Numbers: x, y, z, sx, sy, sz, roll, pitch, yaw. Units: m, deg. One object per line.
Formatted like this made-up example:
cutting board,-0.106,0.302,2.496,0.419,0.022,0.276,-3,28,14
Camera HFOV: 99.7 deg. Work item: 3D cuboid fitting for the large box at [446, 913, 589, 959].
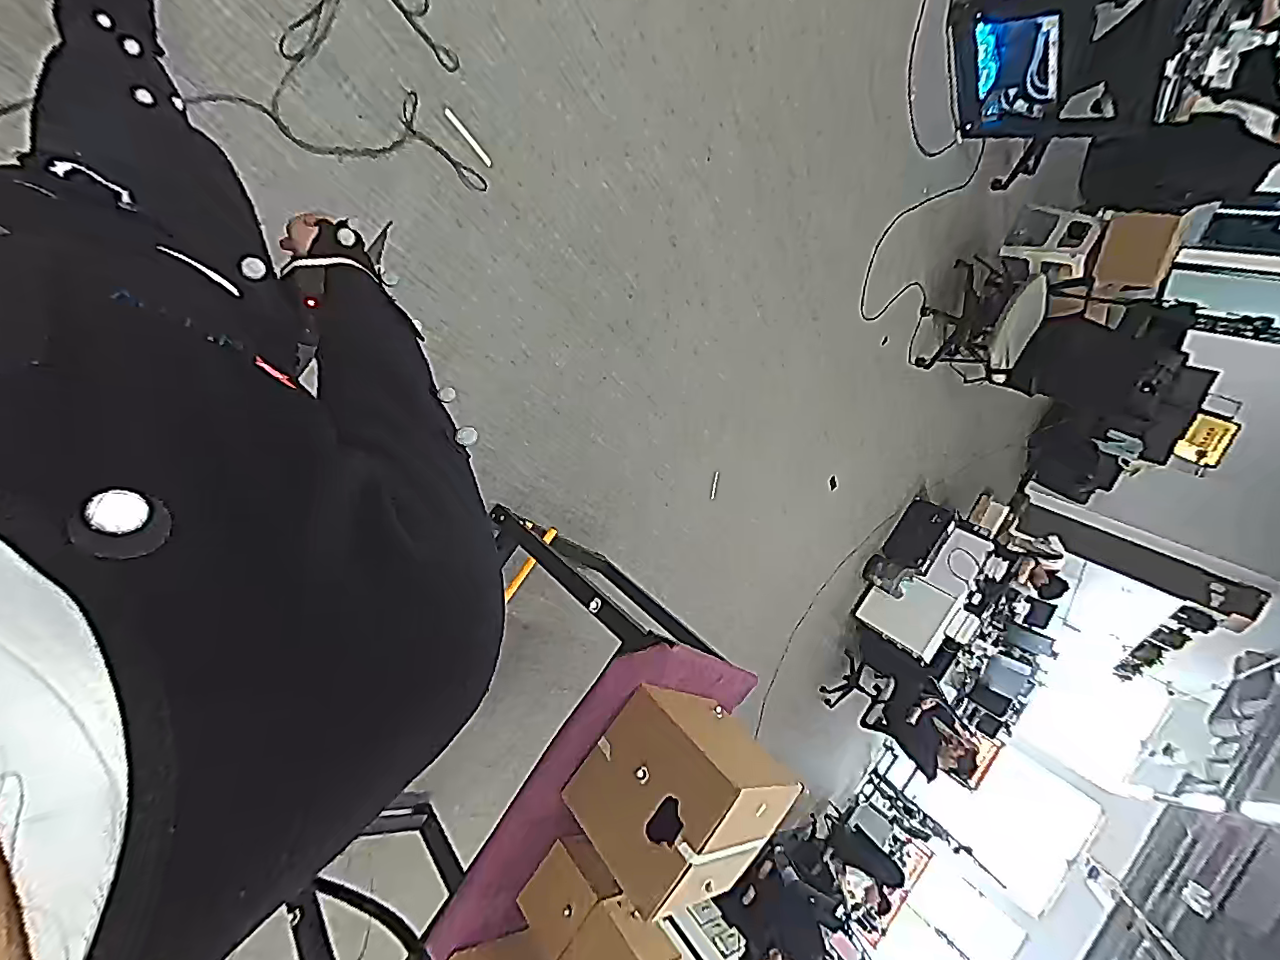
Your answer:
large box,-0.303,1.287,1.221,0.320,0.320,0.408,-55,141,-3
